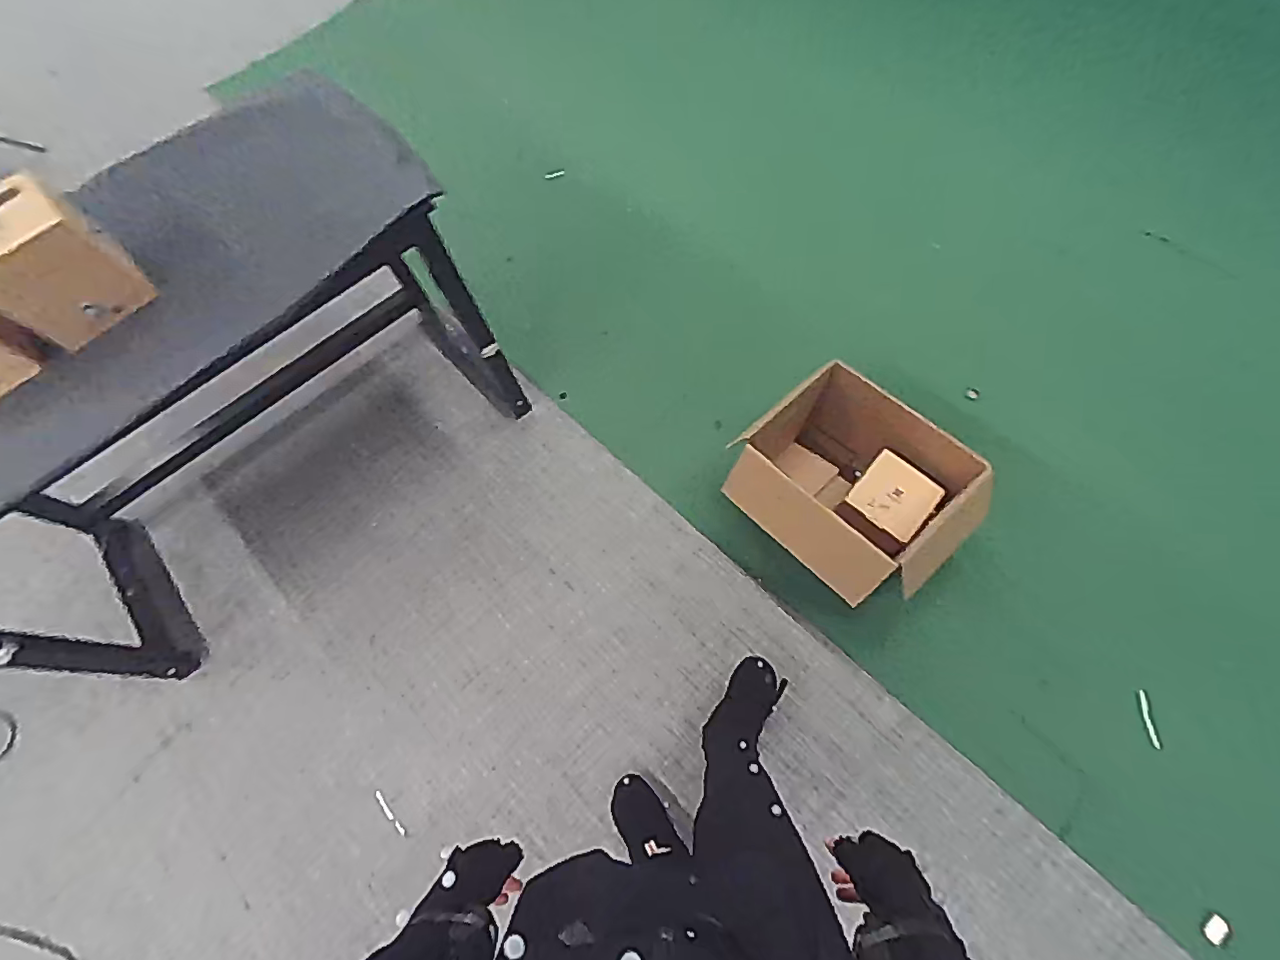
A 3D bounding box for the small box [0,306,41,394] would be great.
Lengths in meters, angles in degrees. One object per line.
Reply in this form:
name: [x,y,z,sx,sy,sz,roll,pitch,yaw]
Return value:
small box: [-1.126,-0.225,0.854,0.168,0.176,0.179,-42,68,-13]
